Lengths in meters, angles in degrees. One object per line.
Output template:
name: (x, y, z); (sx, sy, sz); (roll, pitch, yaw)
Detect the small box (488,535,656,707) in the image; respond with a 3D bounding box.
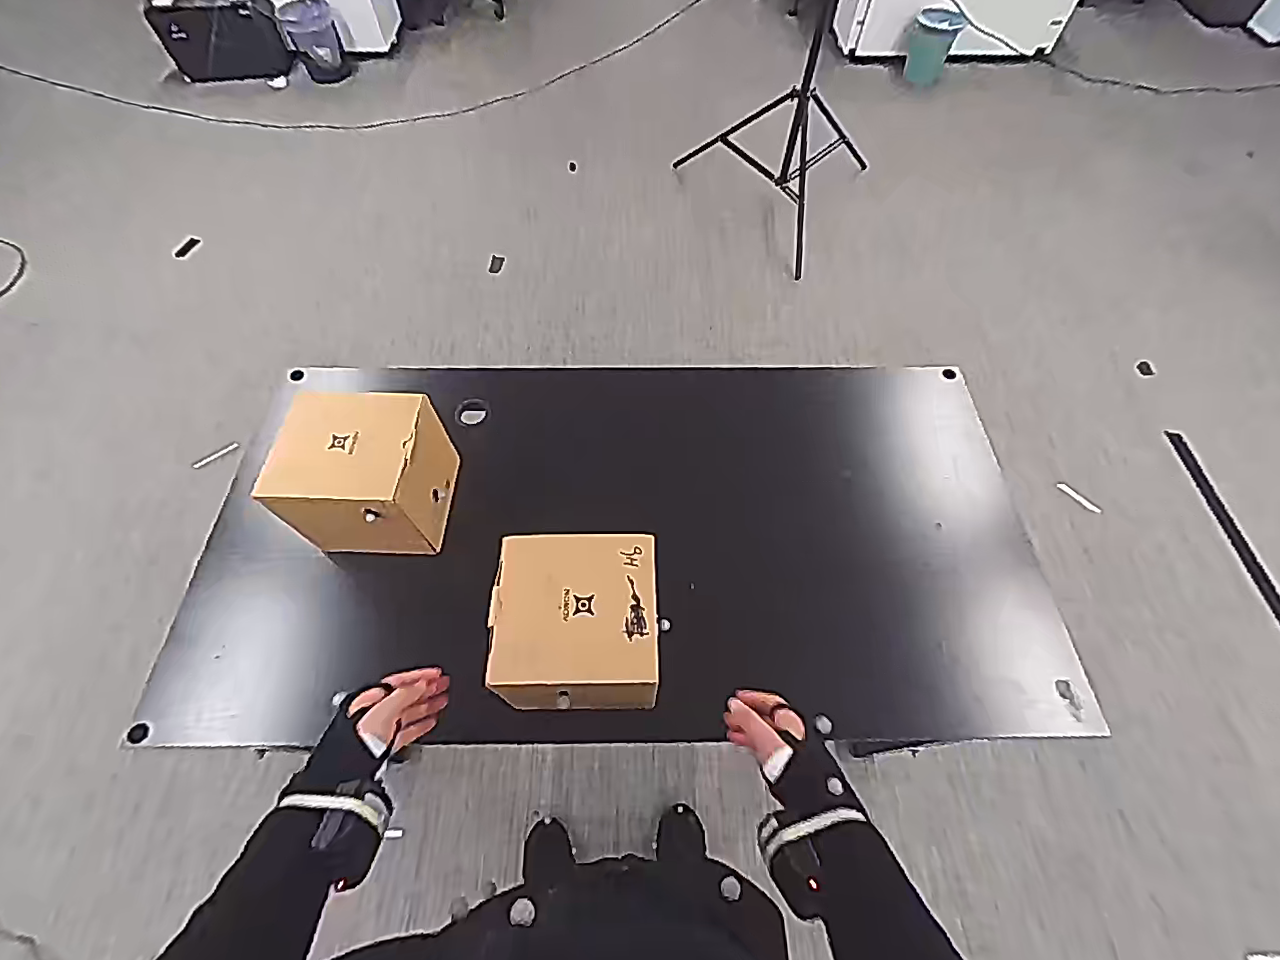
small box: (-0.069, 0.177, 0.660); (0.179, 0.176, 0.168); (-1, 59, 0)

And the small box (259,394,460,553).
small box: (-0.375, -0.003, 0.763); (0.179, 0.176, 0.168); (1, 60, -1)
